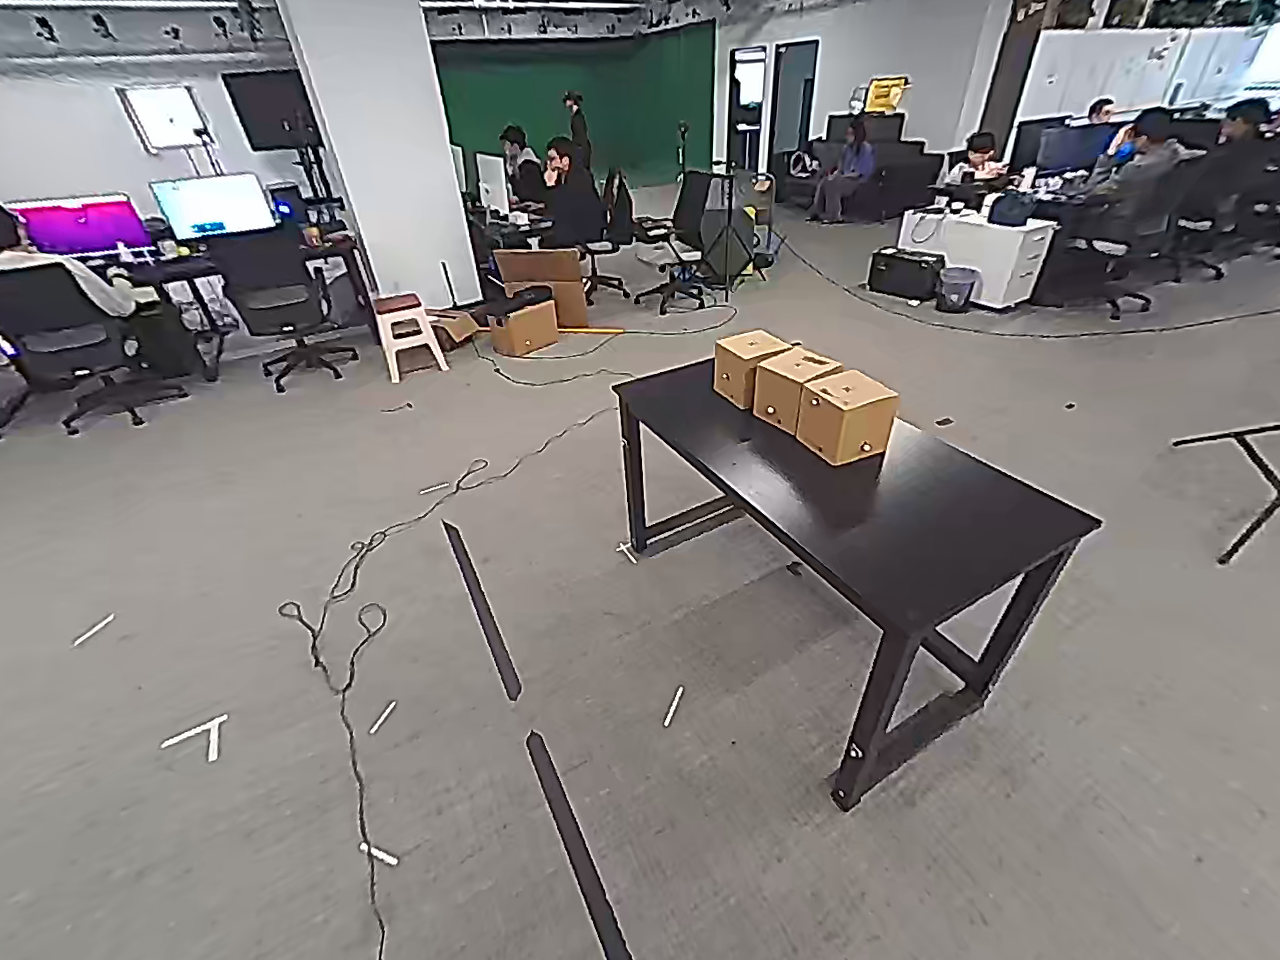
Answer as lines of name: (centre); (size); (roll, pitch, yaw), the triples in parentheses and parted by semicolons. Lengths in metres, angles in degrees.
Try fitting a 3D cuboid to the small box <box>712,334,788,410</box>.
small box: (0.343, -0.337, 1.699); (0.179, 0.176, 0.168); (-18, 38, -19)
